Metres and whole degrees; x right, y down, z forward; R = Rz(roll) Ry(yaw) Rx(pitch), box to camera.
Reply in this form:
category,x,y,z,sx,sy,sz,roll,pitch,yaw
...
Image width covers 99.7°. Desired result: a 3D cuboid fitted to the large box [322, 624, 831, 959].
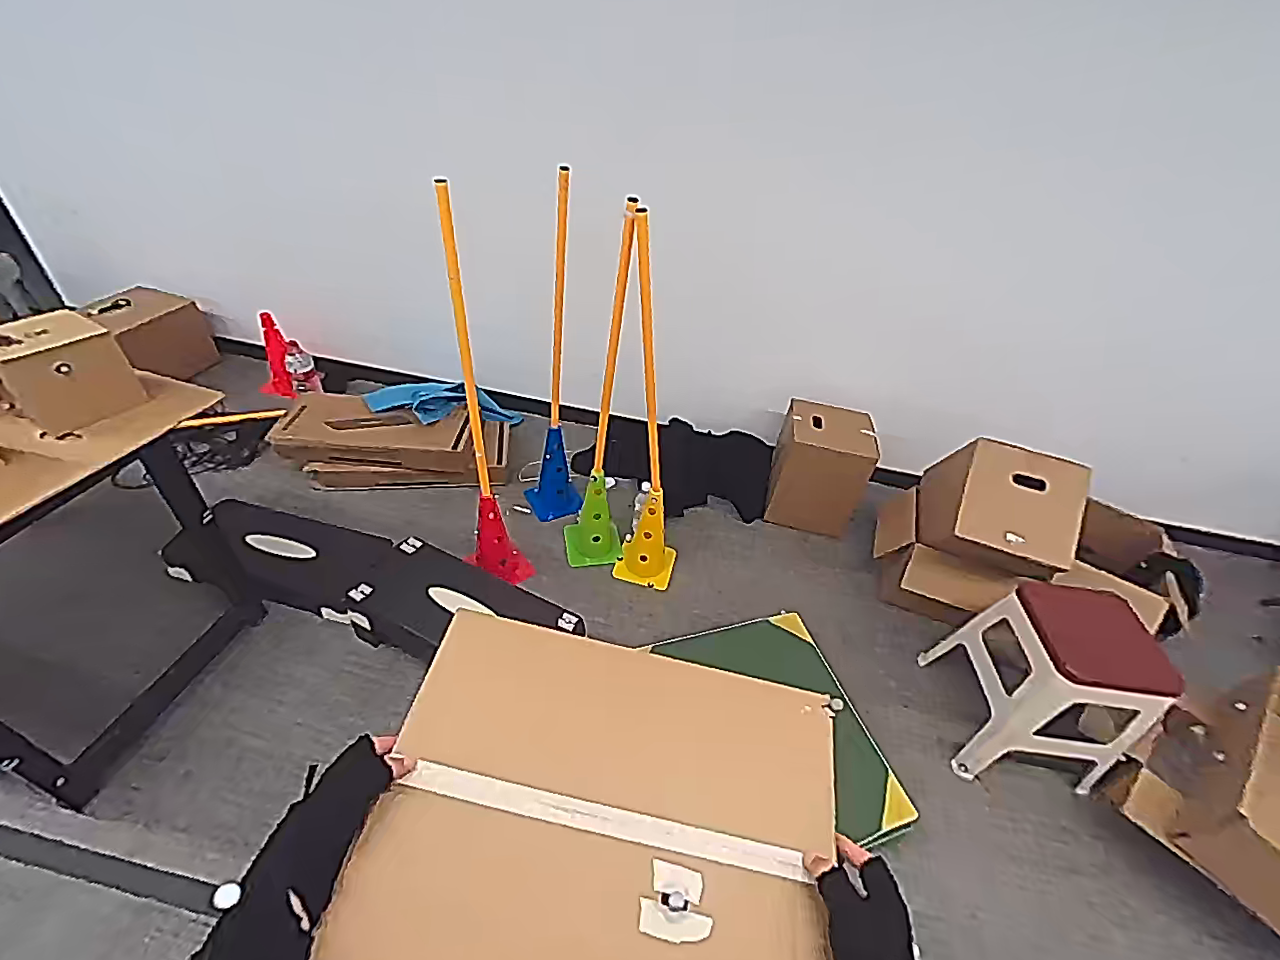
category,x,y,z,sx,sy,sz,roll,pitch,yaw
large box,-0.045,0.403,0.597,0.408,0.320,0.320,13,51,1
